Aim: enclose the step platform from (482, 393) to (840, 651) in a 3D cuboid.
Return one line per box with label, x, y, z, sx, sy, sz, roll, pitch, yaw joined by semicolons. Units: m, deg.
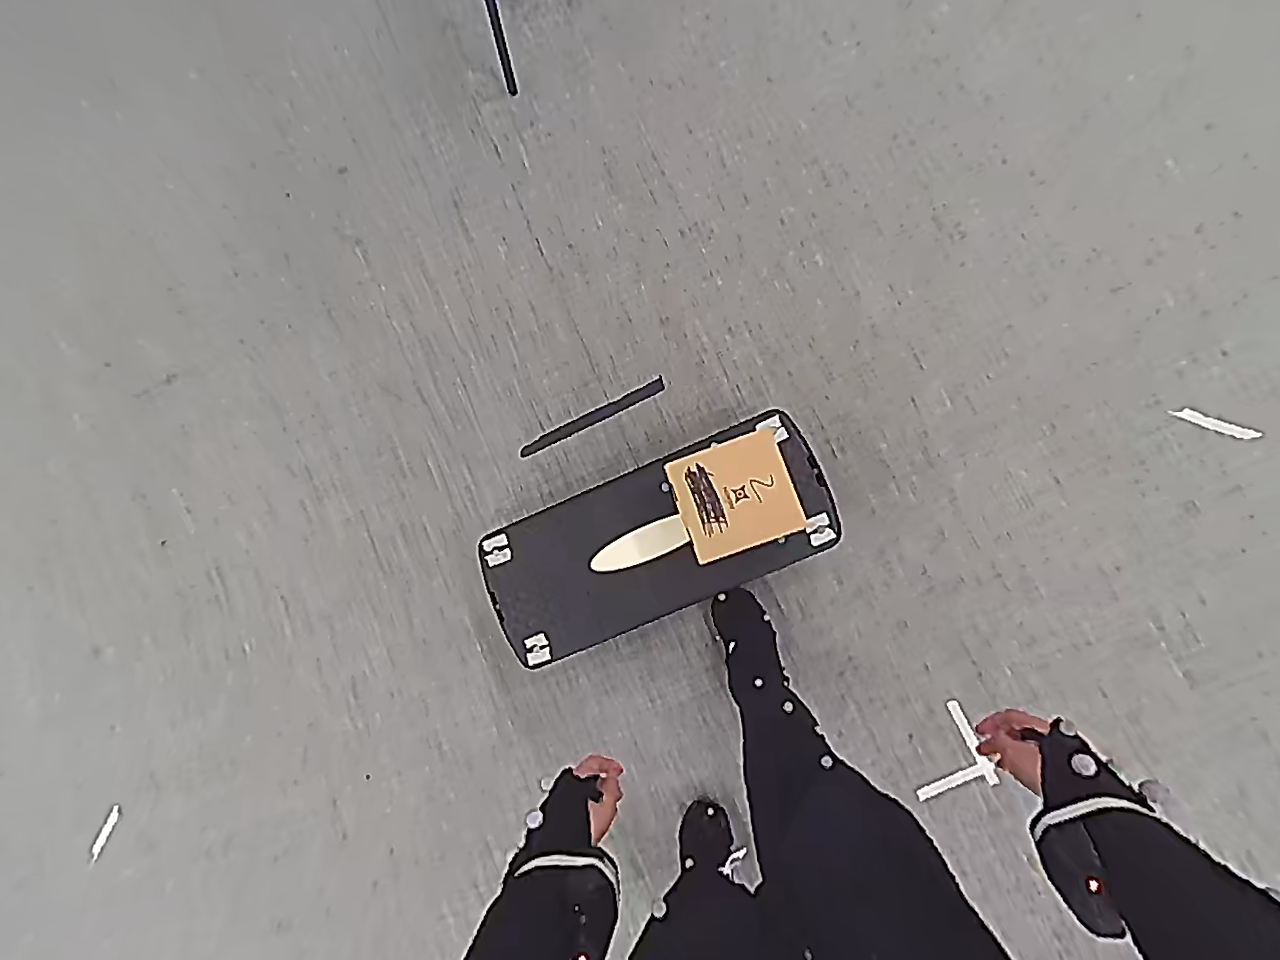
step platform;0.036;0.087;1.086;0.684;0.204;0.286;-24;83;5
